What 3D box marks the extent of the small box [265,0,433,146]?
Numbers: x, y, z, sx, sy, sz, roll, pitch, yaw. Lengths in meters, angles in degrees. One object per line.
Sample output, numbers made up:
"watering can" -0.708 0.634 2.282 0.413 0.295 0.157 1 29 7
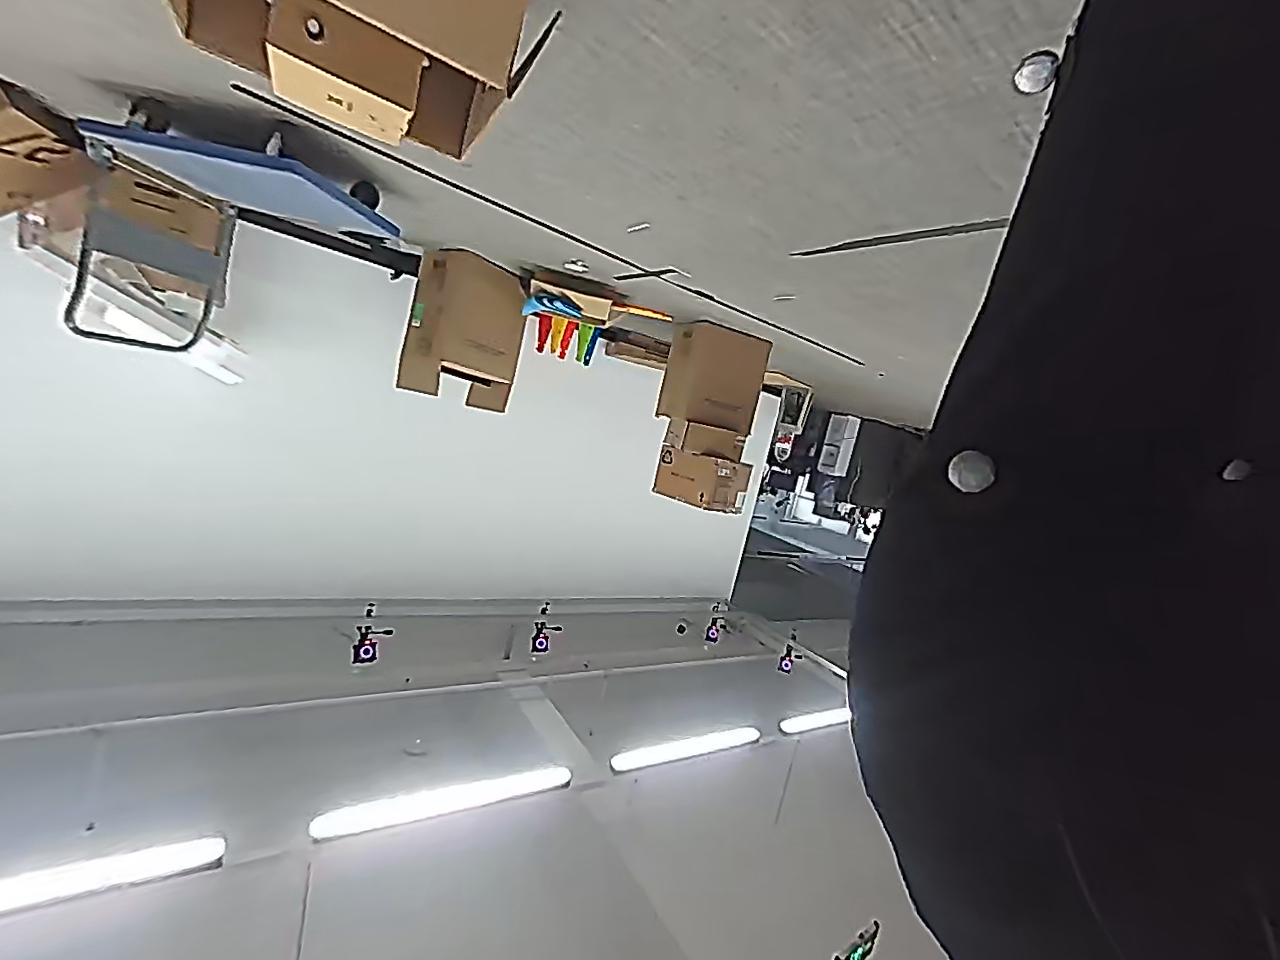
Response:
"small box" -0.414 -0.626 0.772 0.179 0.176 0.168 9 -172 -33
